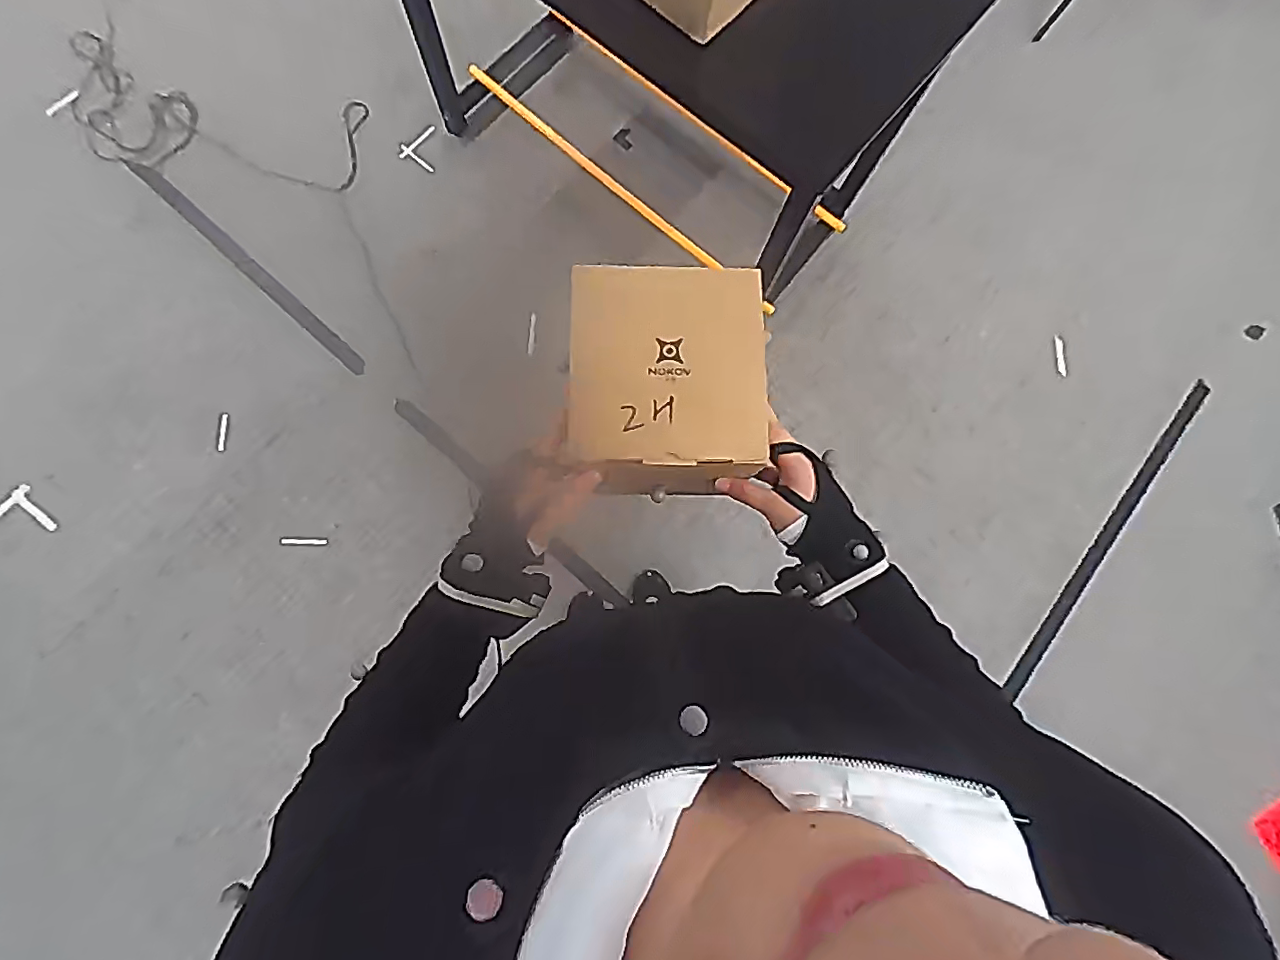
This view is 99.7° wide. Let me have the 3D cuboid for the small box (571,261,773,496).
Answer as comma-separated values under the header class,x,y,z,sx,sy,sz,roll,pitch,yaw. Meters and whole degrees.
class,x,y,z,sx,sy,sz,roll,pitch,yaw
small box,0.023,-0.086,0.527,0.168,0.176,0.179,0,79,-2
